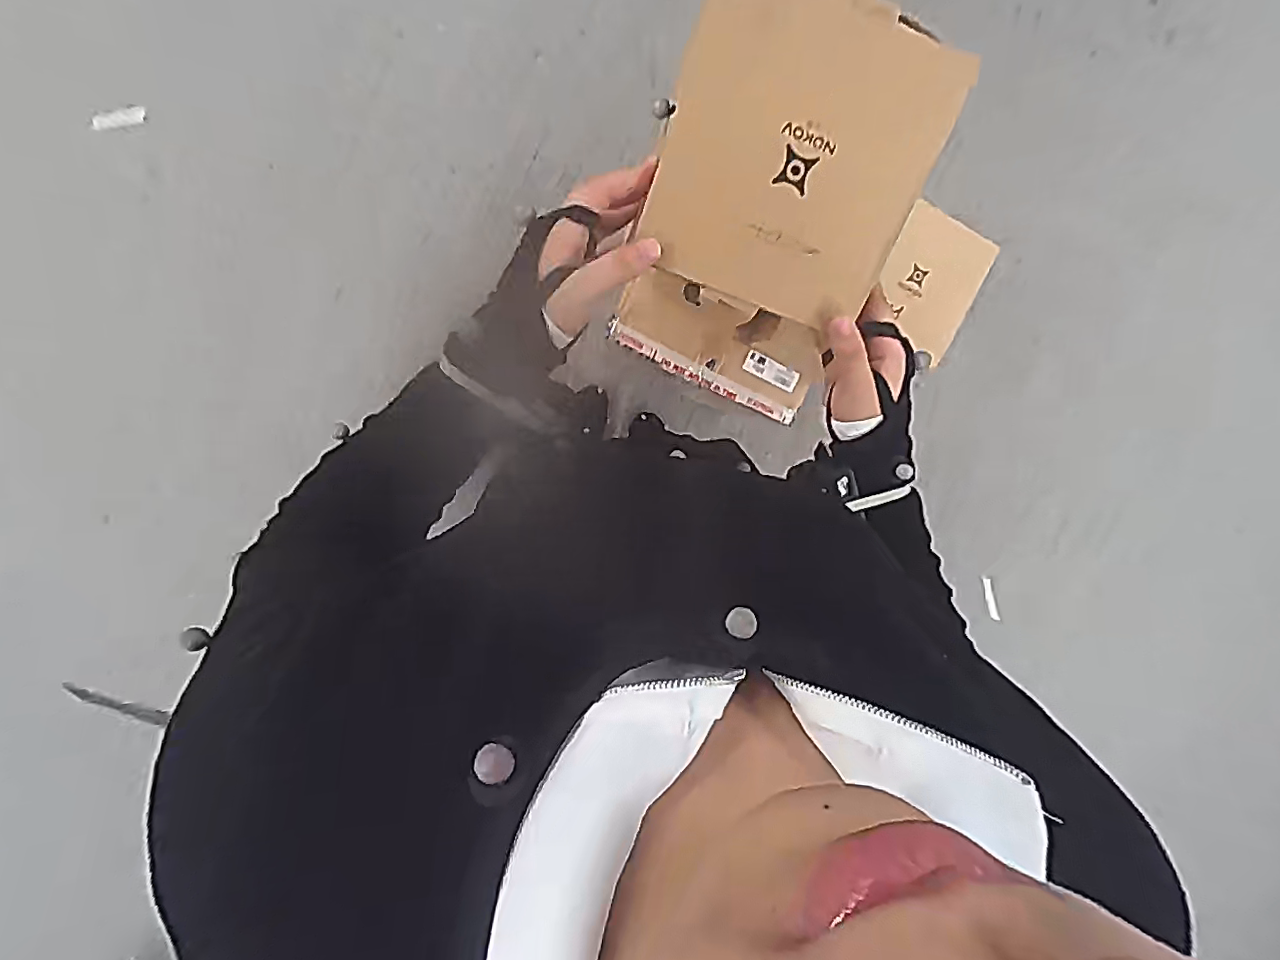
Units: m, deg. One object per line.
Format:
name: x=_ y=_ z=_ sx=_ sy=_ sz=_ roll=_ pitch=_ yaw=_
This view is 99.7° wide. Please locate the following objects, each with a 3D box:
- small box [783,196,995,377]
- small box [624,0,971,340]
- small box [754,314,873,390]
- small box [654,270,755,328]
small box: x=0.324 y=-0.256 z=0.743 sx=0.168 sy=0.176 sz=0.179 roll=25 pitch=97 yaw=-10
small box: x=0.090 y=-0.230 z=0.410 sx=0.168 sy=0.176 sz=0.179 roll=17 pitch=112 yaw=-11
small box: x=0.316 y=-0.268 z=0.908 sx=0.168 sy=0.176 sz=0.179 roll=27 pitch=98 yaw=-10
small box: x=0.132 y=-0.364 z=0.874 sx=0.168 sy=0.176 sz=0.179 roll=28 pitch=98 yaw=-7
